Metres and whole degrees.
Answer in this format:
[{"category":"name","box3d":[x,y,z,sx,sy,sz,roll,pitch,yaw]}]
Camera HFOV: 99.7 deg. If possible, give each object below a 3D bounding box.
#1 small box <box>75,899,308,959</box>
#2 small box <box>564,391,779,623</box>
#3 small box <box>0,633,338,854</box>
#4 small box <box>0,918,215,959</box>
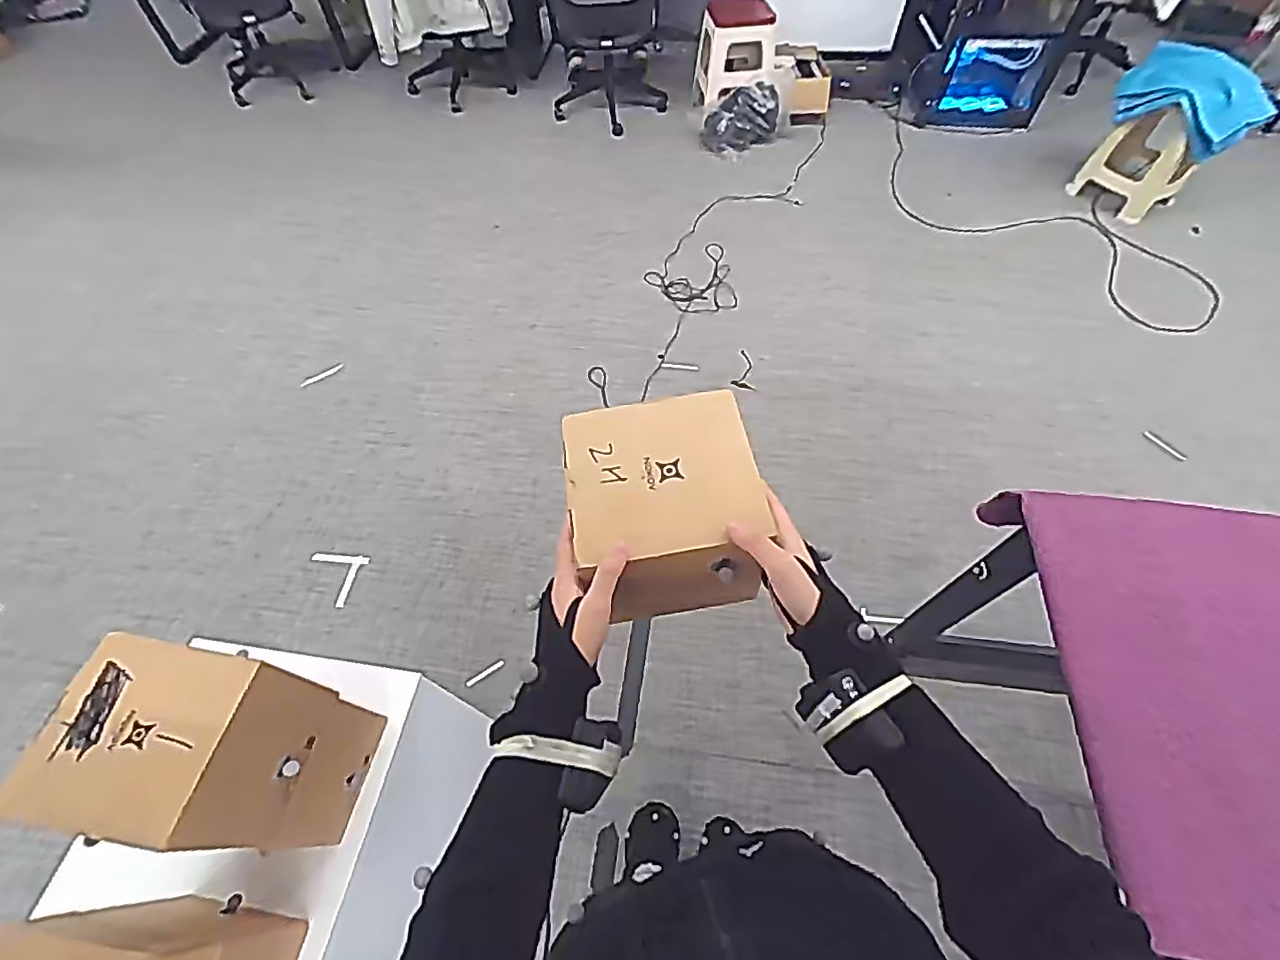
[{"category":"small box","box3d":[-0.515,0.575,0.583,0.179,0.176,0.168,6,59,7]},{"category":"small box","box3d":[0.026,0.035,0.557,0.179,0.176,0.168,-9,58,0]},{"category":"small box","box3d":[-0.472,0.279,0.575,0.179,0.176,0.168,9,59,6]},{"category":"small box","box3d":[-0.517,0.487,0.447,0.179,0.176,0.168,5,58,6]}]
